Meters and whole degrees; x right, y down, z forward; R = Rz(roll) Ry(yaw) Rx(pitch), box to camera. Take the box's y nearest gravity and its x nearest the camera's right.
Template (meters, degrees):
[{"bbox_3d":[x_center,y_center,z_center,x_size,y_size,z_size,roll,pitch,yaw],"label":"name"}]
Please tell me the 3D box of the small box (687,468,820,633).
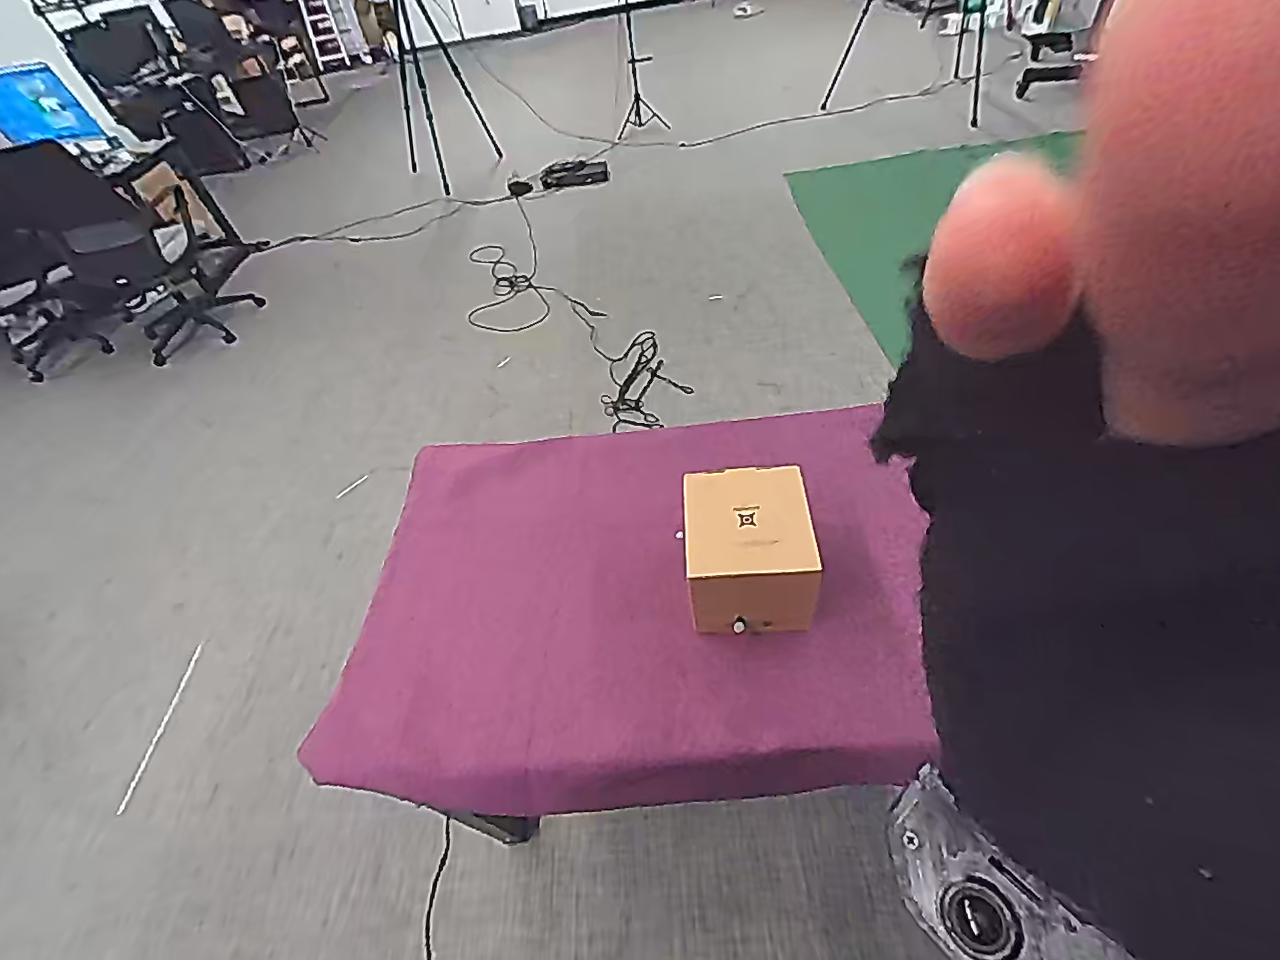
[{"bbox_3d":[0.154,0.104,0.781,0.168,0.176,0.179,-4,49,8],"label":"small box"}]
